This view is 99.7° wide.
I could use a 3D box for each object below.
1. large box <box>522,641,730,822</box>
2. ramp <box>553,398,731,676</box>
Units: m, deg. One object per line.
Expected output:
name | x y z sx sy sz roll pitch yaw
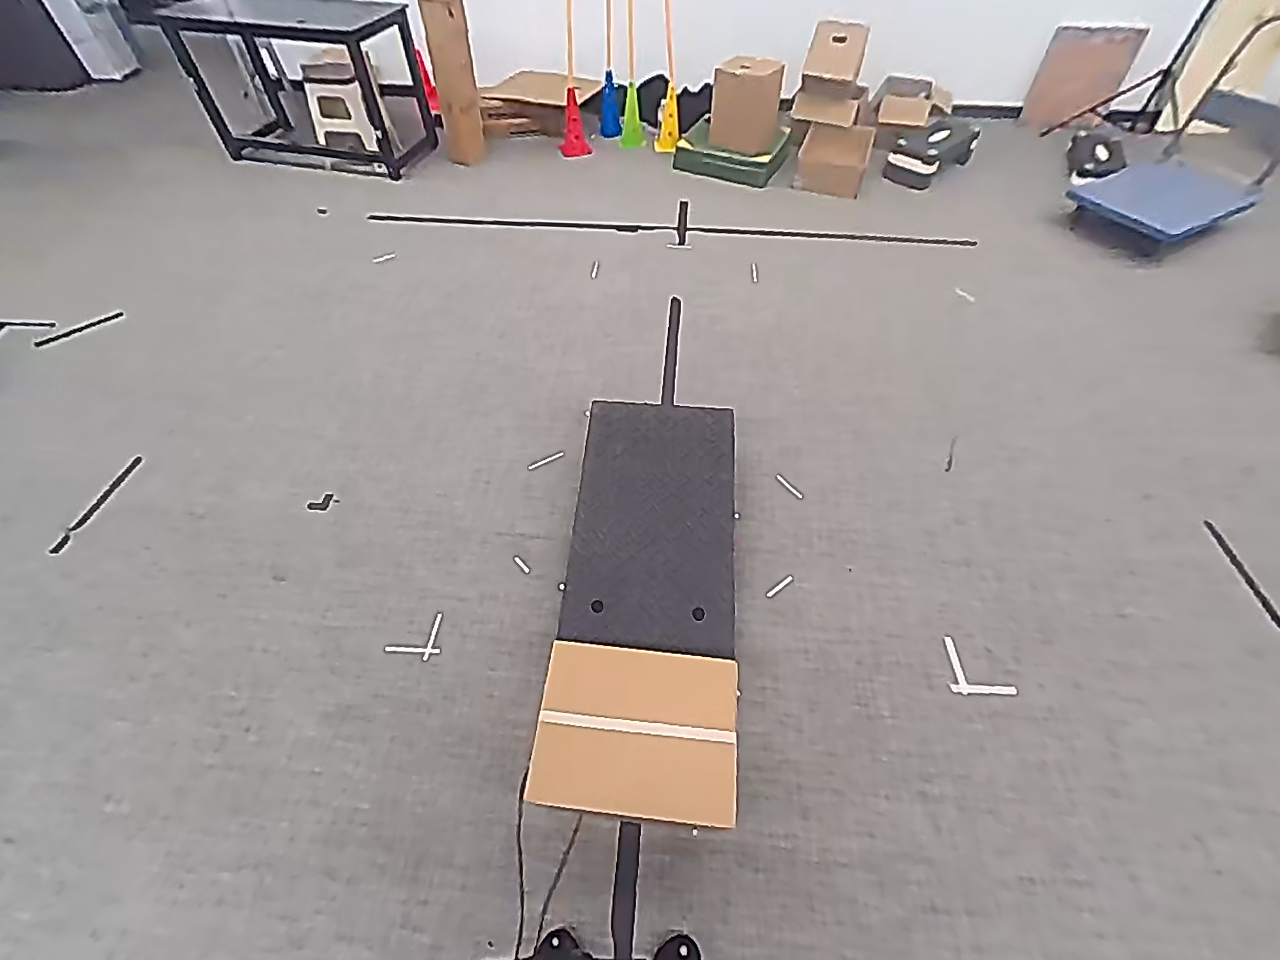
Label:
large box | -0.017 0.579 1.230 0.408 0.320 0.320 6 56 2
ramp | 0.030 0.175 1.635 0.509 0.206 0.991 4 52 0
